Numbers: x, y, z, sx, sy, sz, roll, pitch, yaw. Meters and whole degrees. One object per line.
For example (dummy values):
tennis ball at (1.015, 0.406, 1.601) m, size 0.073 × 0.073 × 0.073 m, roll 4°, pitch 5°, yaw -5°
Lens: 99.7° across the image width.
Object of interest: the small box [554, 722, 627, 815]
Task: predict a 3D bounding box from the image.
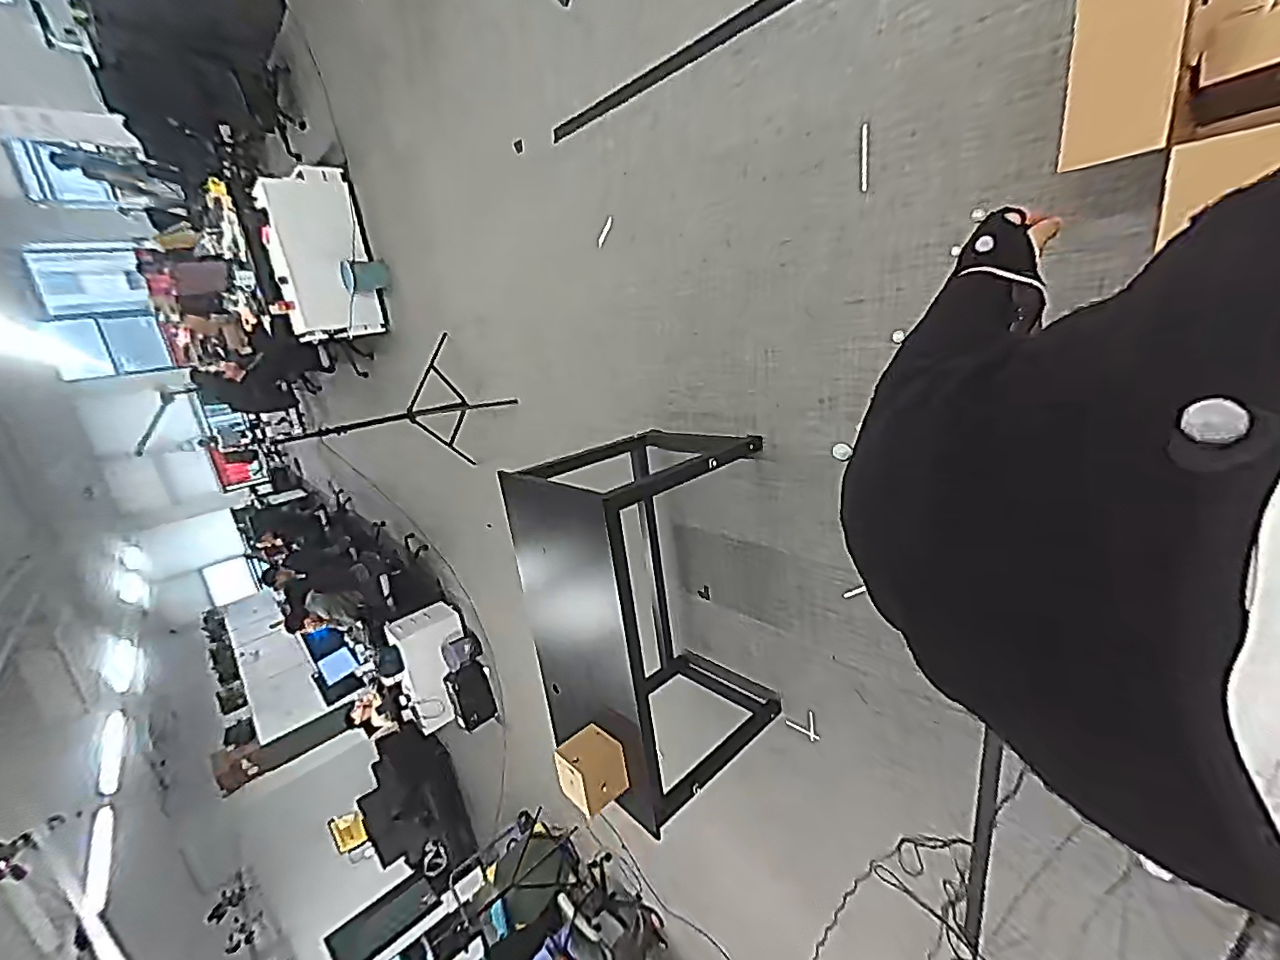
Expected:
small box at (-0.160, 0.957, 1.810) m, size 0.168 × 0.176 × 0.179 m, roll 9°, pitch 114°, yaw 49°
